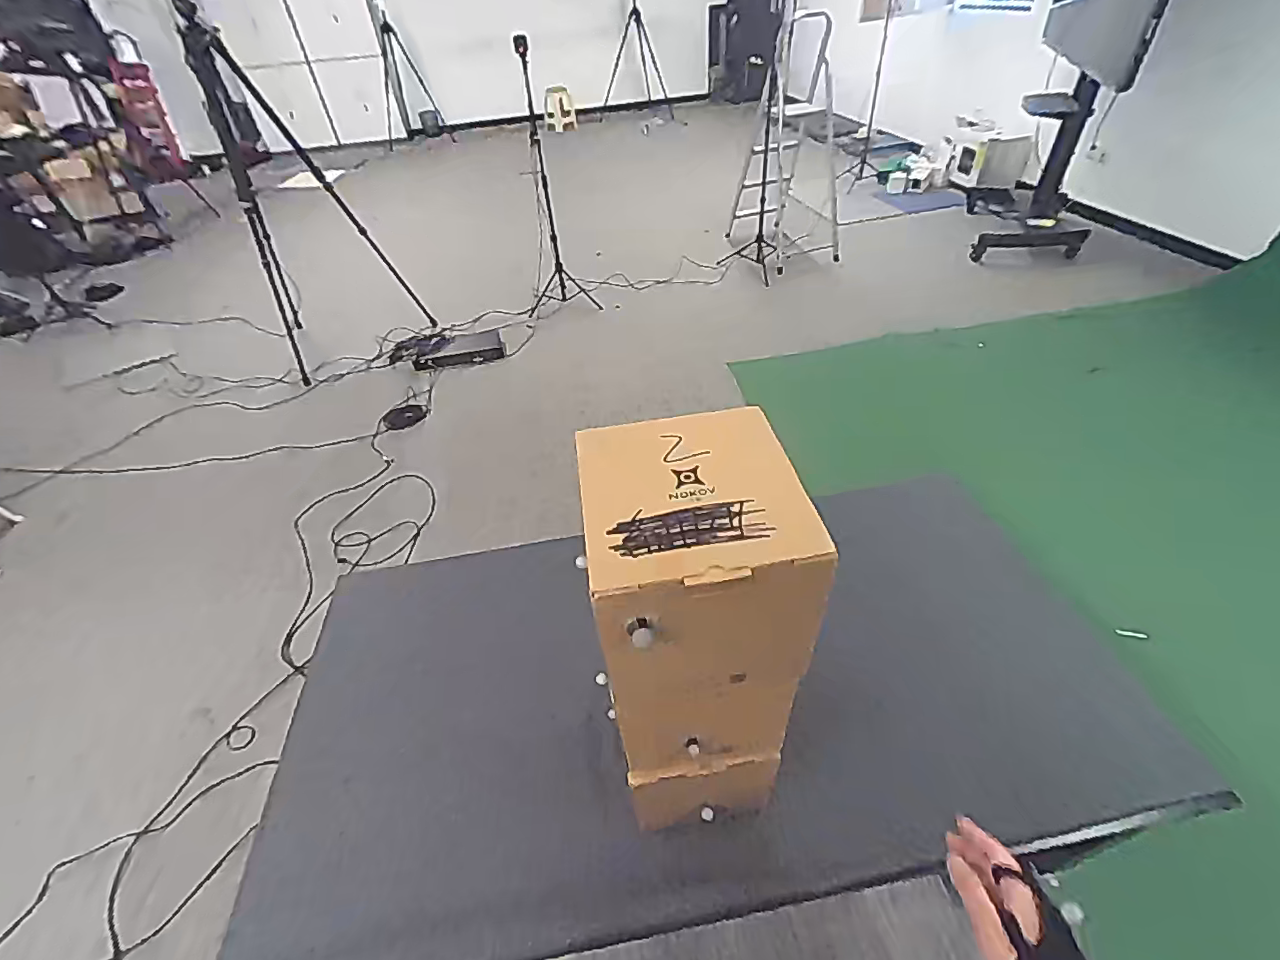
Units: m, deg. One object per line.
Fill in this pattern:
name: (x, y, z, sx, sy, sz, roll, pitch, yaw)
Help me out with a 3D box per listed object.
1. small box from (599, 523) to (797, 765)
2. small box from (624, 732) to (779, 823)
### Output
small box: (0.049, 0.173, 0.578, 0.168, 0.176, 0.179, -8, 43, -3)
small box: (0.061, 0.297, 0.681, 0.168, 0.176, 0.179, -10, 43, -3)
